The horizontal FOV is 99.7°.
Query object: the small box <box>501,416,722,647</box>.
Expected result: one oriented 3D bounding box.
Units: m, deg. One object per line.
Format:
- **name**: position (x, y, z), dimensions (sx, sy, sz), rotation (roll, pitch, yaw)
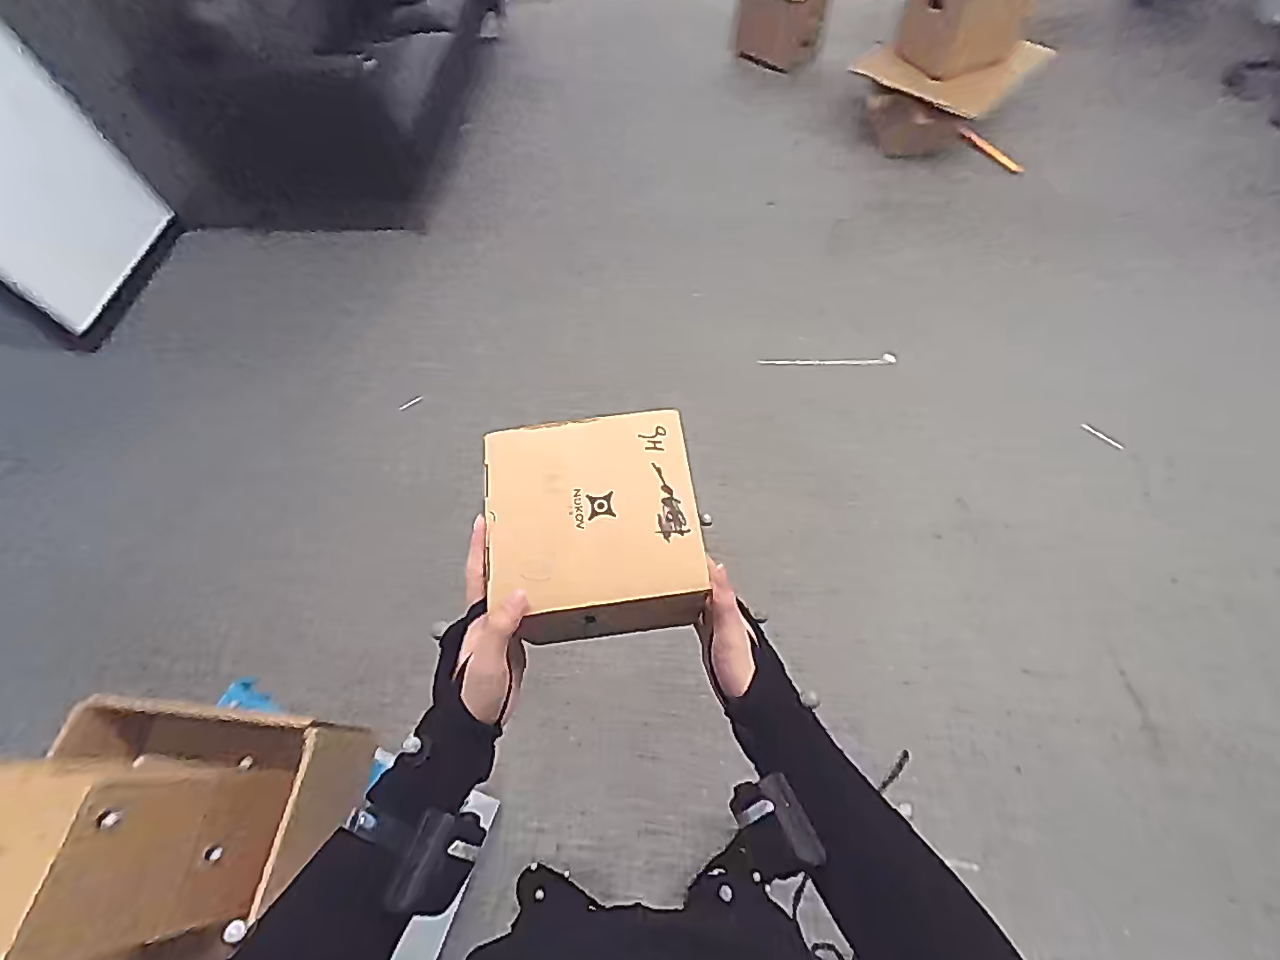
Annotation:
- **small box**: position (-0.024, 0.059, 0.520), dimensions (0.179, 0.176, 0.168), rotation (-7, 66, 0)
